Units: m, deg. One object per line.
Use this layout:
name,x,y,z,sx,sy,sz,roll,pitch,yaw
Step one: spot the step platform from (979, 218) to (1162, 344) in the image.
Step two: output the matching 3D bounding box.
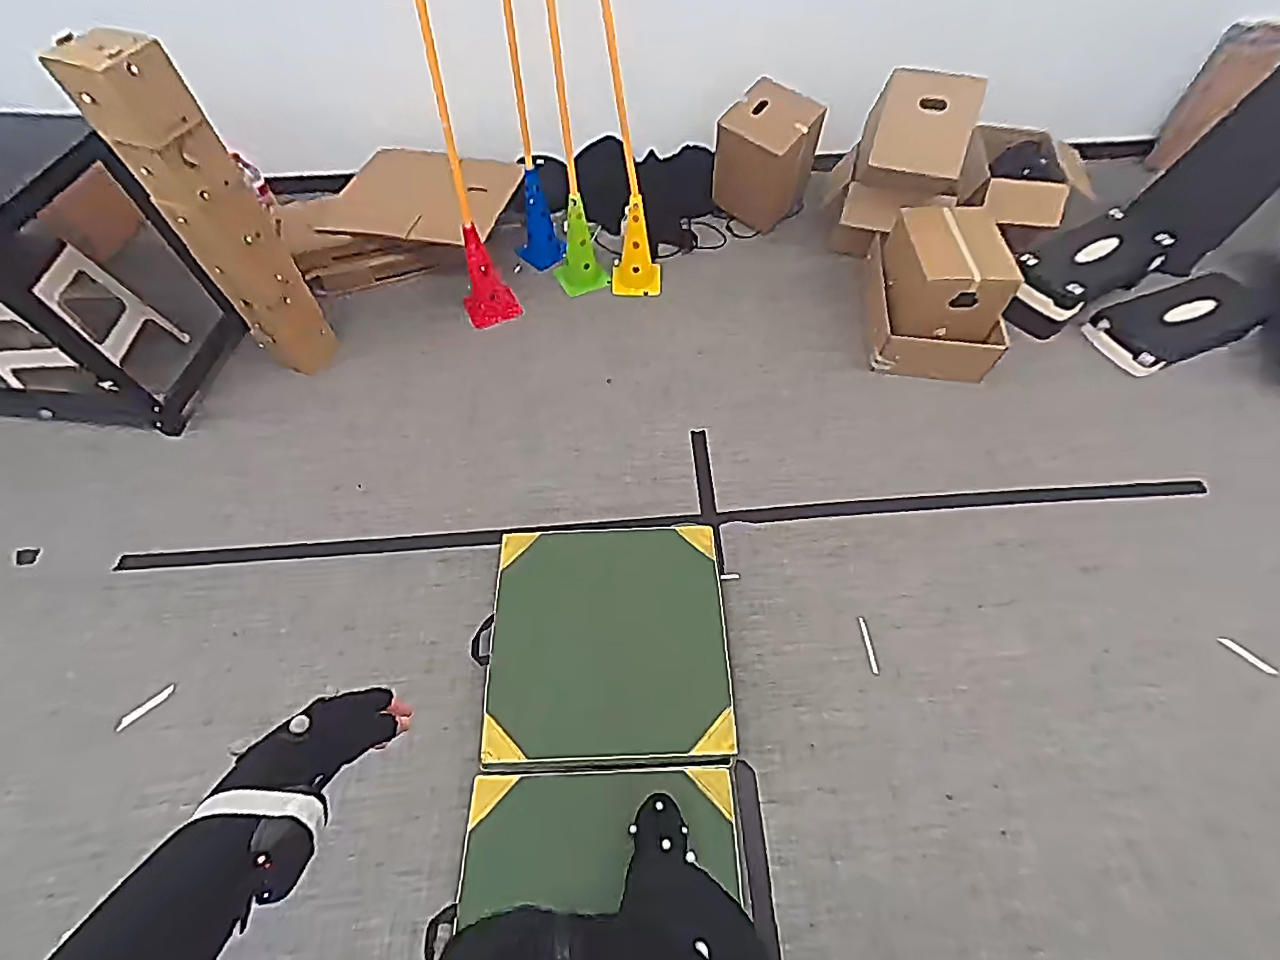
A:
step platform,1.718,-0.803,2.155,0.684,0.204,0.286,-28,62,-16
